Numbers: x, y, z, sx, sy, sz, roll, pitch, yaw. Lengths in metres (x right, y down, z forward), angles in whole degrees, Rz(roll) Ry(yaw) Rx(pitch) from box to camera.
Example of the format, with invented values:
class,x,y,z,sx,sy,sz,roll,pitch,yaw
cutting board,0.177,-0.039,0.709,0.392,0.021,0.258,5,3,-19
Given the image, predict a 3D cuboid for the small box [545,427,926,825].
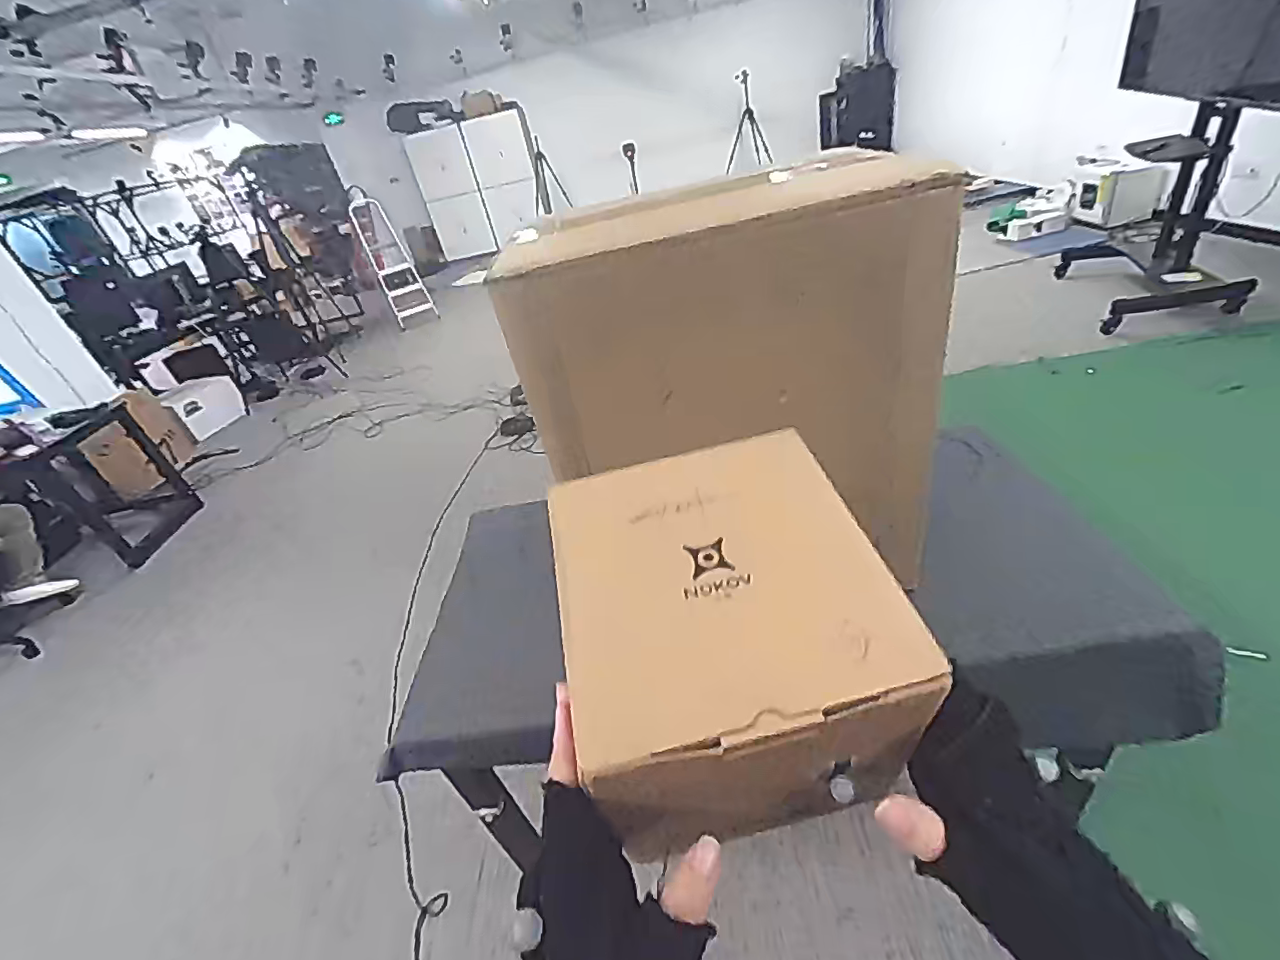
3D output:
class,x,y,z,sx,sy,sz,roll,pitch,yaw
small box,0.044,0.098,0.348,0.168,0.176,0.179,-13,44,-3
